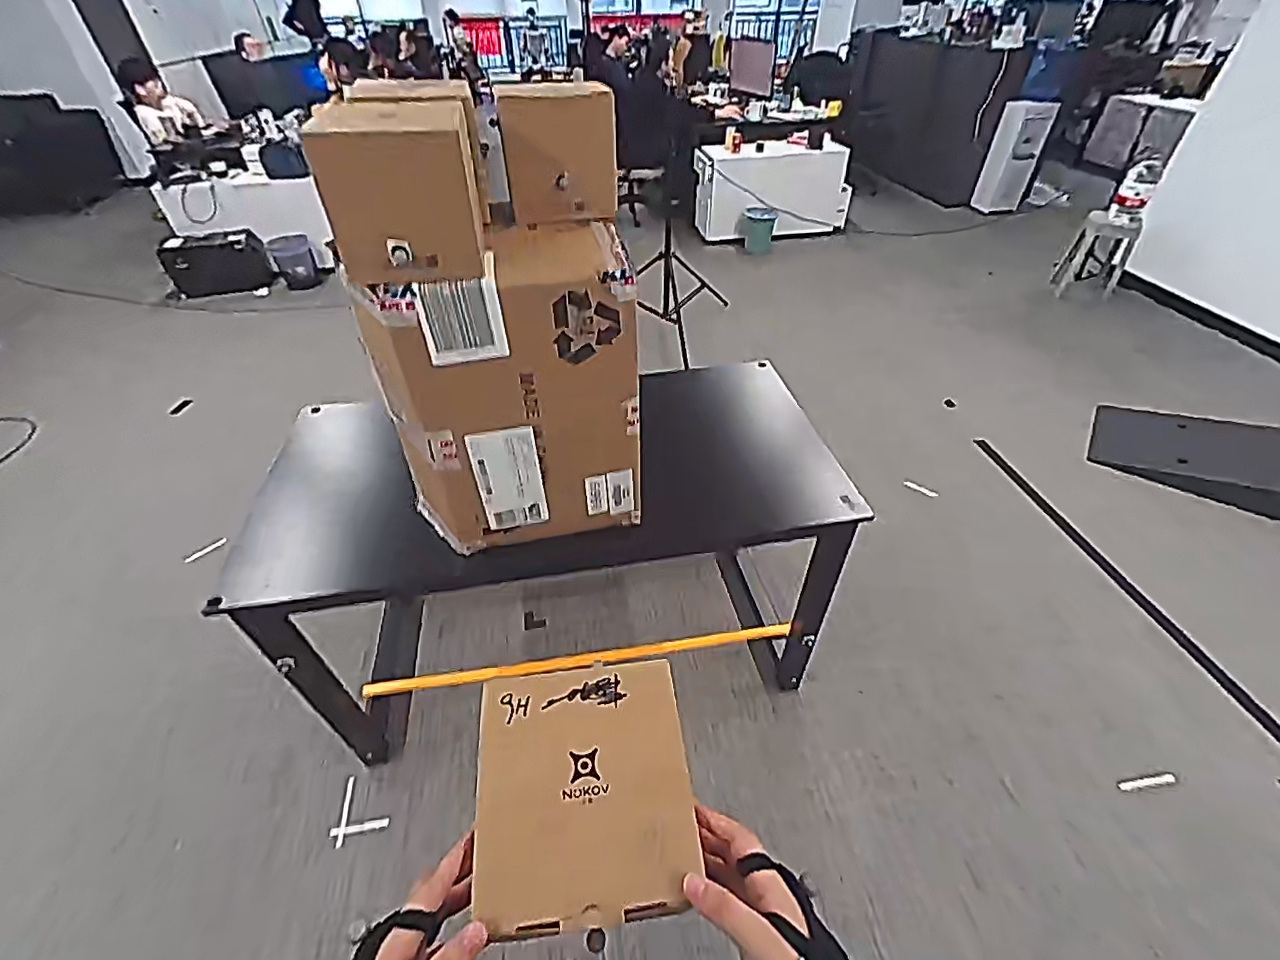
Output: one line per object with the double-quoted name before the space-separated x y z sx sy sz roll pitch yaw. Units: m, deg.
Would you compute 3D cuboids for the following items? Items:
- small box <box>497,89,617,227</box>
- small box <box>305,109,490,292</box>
"small box" -0.133 -0.519 0.870 0.168 0.176 0.179 -9 41 -9
"small box" -0.289 -0.357 0.688 0.168 0.176 0.179 -9 45 -10
